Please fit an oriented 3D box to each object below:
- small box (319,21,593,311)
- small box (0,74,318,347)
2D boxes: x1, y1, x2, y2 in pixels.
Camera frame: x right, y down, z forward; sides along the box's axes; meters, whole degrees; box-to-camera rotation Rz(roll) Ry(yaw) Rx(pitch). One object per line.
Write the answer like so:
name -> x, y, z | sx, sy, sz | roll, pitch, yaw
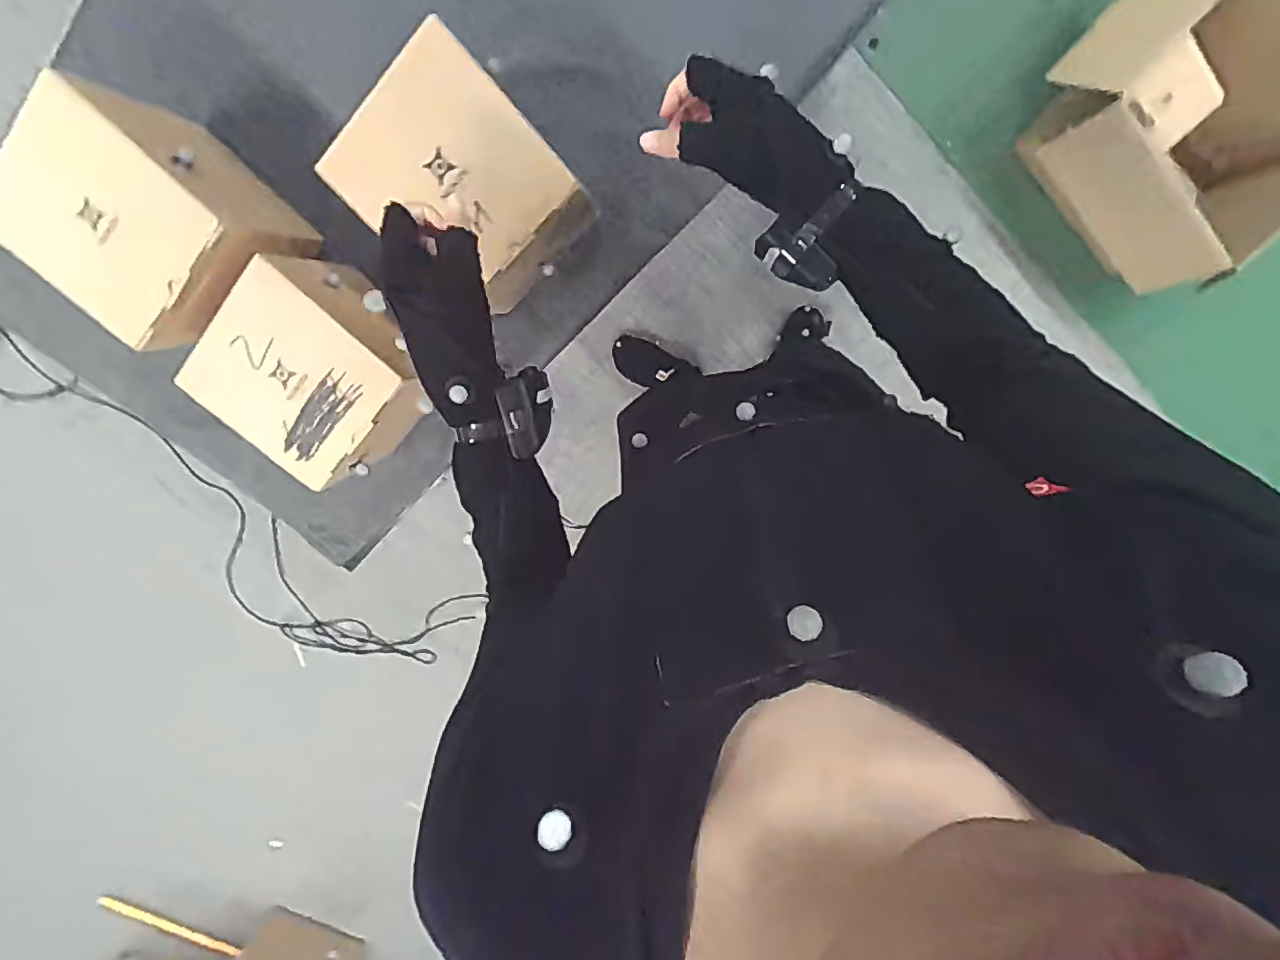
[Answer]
small box -> -0.169, -0.293, 0.556 | 0.168, 0.176, 0.179 | -41, 102, 14
small box -> -0.500, -0.265, 0.576 | 0.168, 0.176, 0.179 | -43, 103, 14
